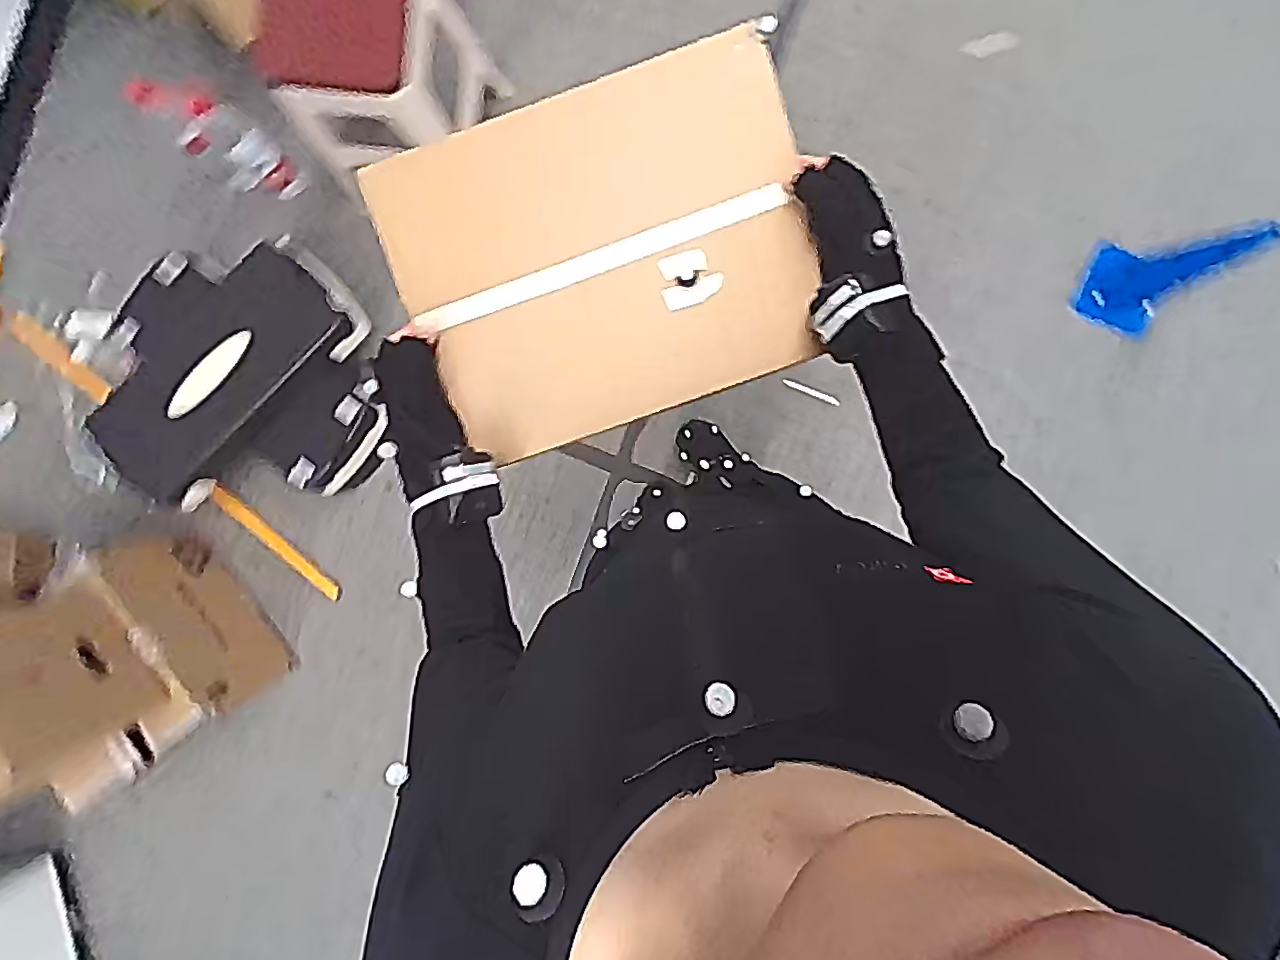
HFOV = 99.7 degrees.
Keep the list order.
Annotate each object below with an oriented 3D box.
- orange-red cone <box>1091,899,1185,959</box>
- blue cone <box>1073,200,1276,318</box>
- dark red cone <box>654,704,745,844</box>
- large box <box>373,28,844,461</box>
[{"bbox_3d":[1.342,1.255,1.295,0.199,0.360,0.198,18,93,0],"label":"orange-red cone"},{"bbox_3d":[1.245,-0.531,1.256,0.193,0.380,0.192,24,92,1],"label":"blue cone"},{"bbox_3d":[0.152,0.731,1.303,0.202,0.394,0.201,26,92,1],"label":"dark red cone"},{"bbox_3d":[-0.029,-0.238,0.681,0.408,0.320,0.320,-18,97,2],"label":"large box"}]
